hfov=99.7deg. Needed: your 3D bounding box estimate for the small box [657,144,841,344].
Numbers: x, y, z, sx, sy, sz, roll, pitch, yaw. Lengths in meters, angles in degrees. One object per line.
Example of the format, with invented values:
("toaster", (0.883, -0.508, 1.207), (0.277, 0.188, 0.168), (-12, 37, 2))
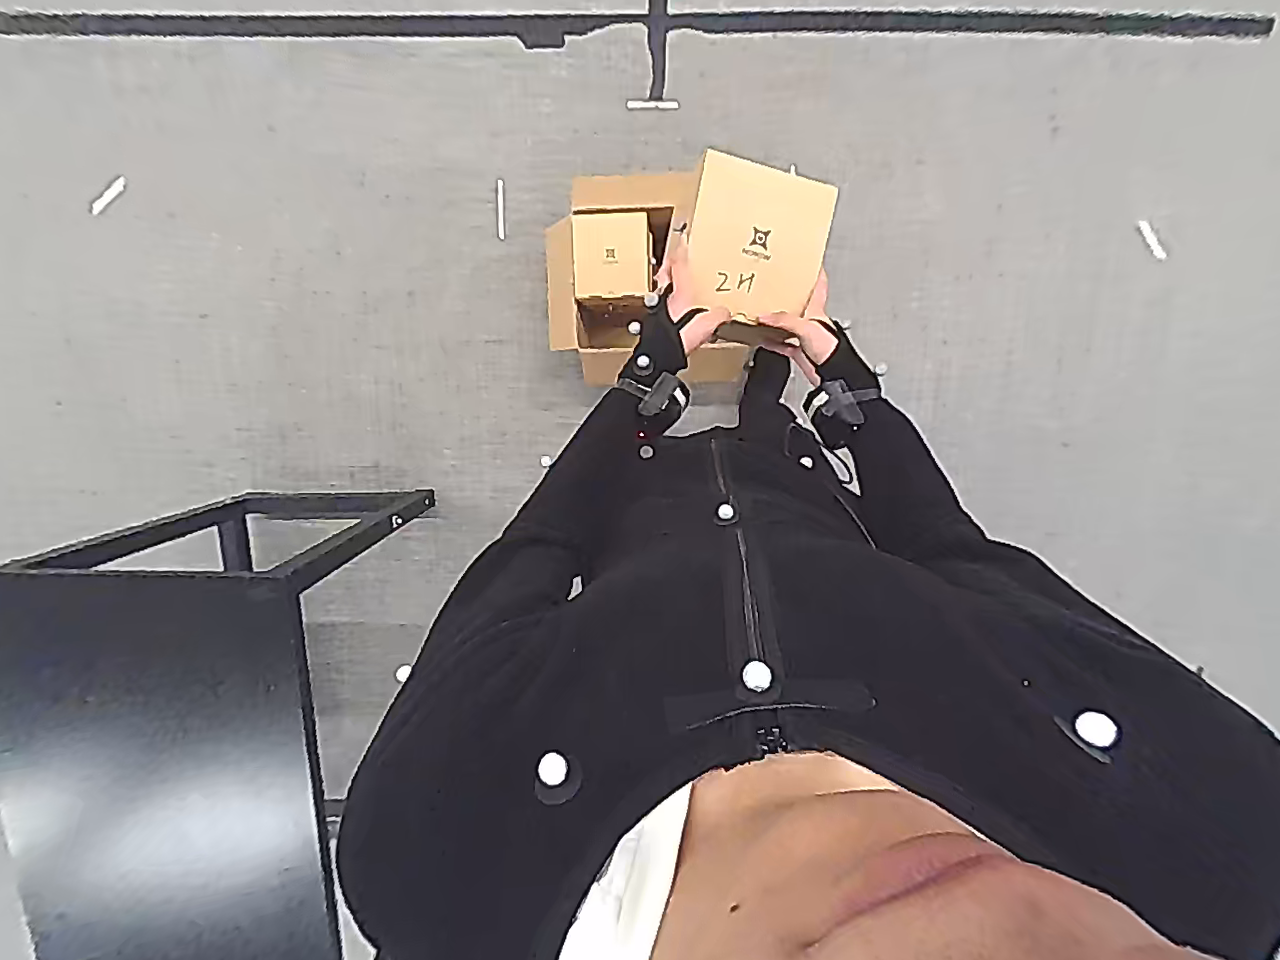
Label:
("small box", (0.126, -0.286, 0.699), (0.168, 0.176, 0.179), (11, 98, -10))
